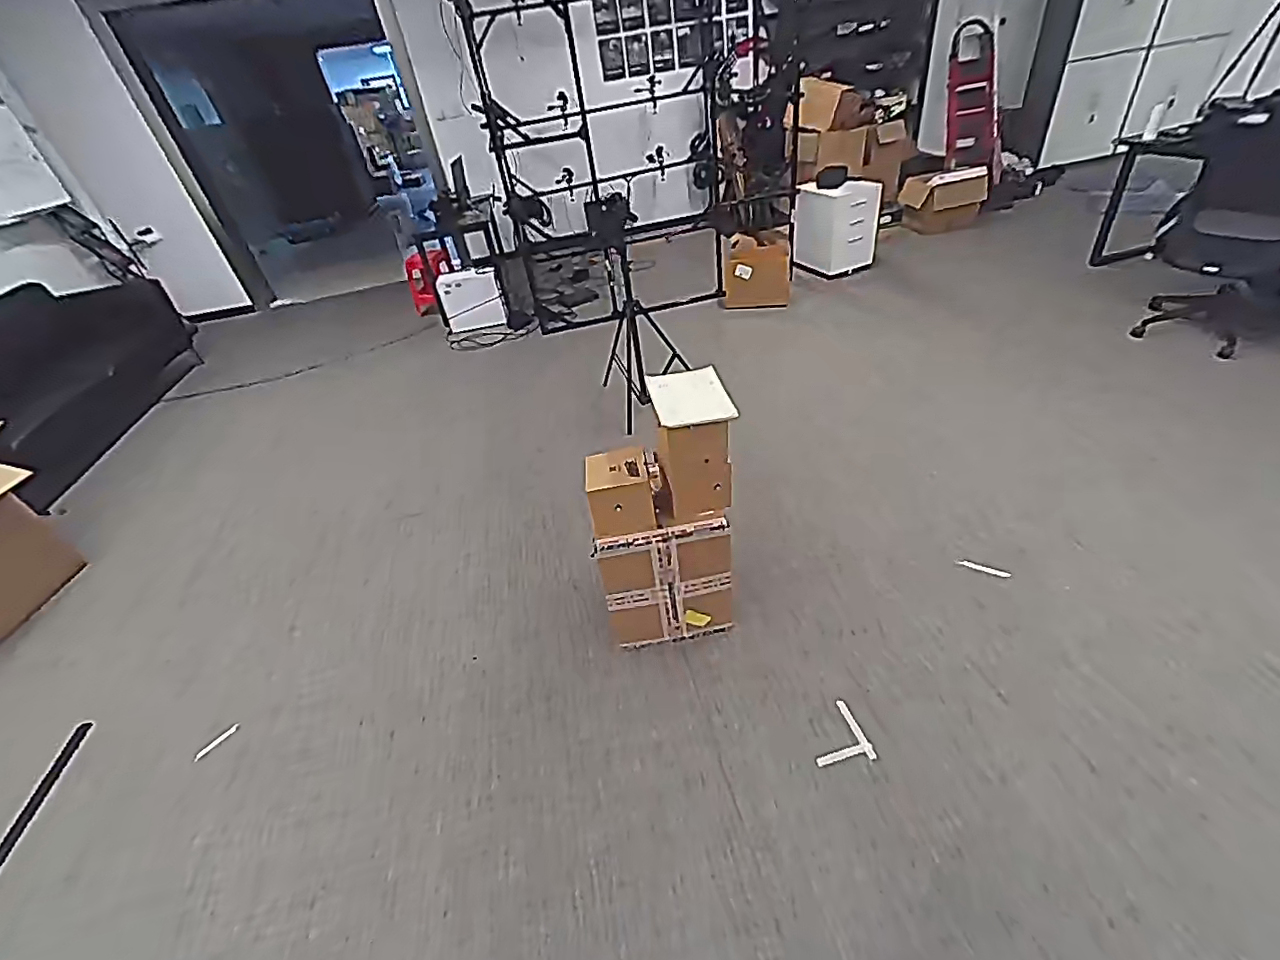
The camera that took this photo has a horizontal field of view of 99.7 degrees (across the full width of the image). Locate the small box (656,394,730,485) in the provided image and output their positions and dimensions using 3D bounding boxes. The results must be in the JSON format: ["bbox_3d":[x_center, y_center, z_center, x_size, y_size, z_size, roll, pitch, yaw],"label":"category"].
[{"bbox_3d":[0.142,-0.112,1.482,0.168,0.176,0.179,-11,38,-5],"label":"small box"}]

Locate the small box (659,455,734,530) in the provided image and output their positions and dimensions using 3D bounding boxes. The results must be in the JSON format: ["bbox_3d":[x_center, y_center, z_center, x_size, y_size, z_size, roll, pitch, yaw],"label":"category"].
[{"bbox_3d":[0.163,0.020,1.576,0.179,0.176,0.168,-13,38,-6],"label":"small box"}]

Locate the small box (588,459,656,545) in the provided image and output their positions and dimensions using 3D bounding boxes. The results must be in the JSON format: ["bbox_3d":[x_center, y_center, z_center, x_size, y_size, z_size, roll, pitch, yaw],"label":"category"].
[{"bbox_3d":[-0.049,0.066,1.561,0.179,0.176,0.168,-9,39,2],"label":"small box"}]
